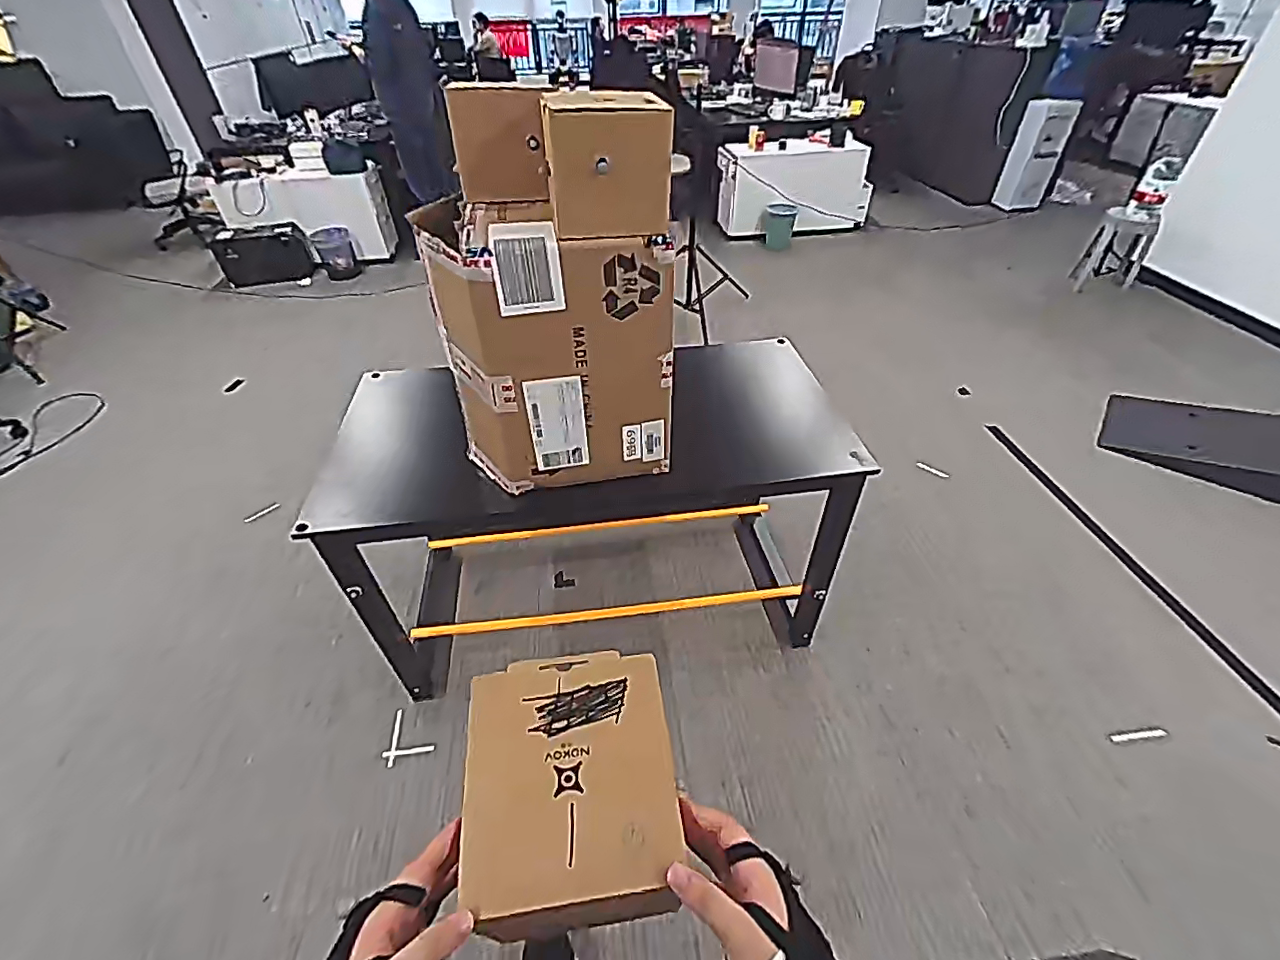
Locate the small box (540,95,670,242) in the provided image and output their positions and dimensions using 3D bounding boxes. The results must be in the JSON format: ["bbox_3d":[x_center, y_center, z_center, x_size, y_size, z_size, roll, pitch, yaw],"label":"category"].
[{"bbox_3d":[-0.054,-0.488,0.849,0.179,0.176,0.168,-8,44,-8],"label":"small box"}]

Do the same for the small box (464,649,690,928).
[{"bbox_3d":[-0.055,0.284,0.502,0.168,0.176,0.179,-6,46,-5],"label":"small box"}]

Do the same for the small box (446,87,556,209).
[{"bbox_3d":[-0.238,-0.603,0.981,0.179,0.176,0.168,-8,39,-8],"label":"small box"}]
